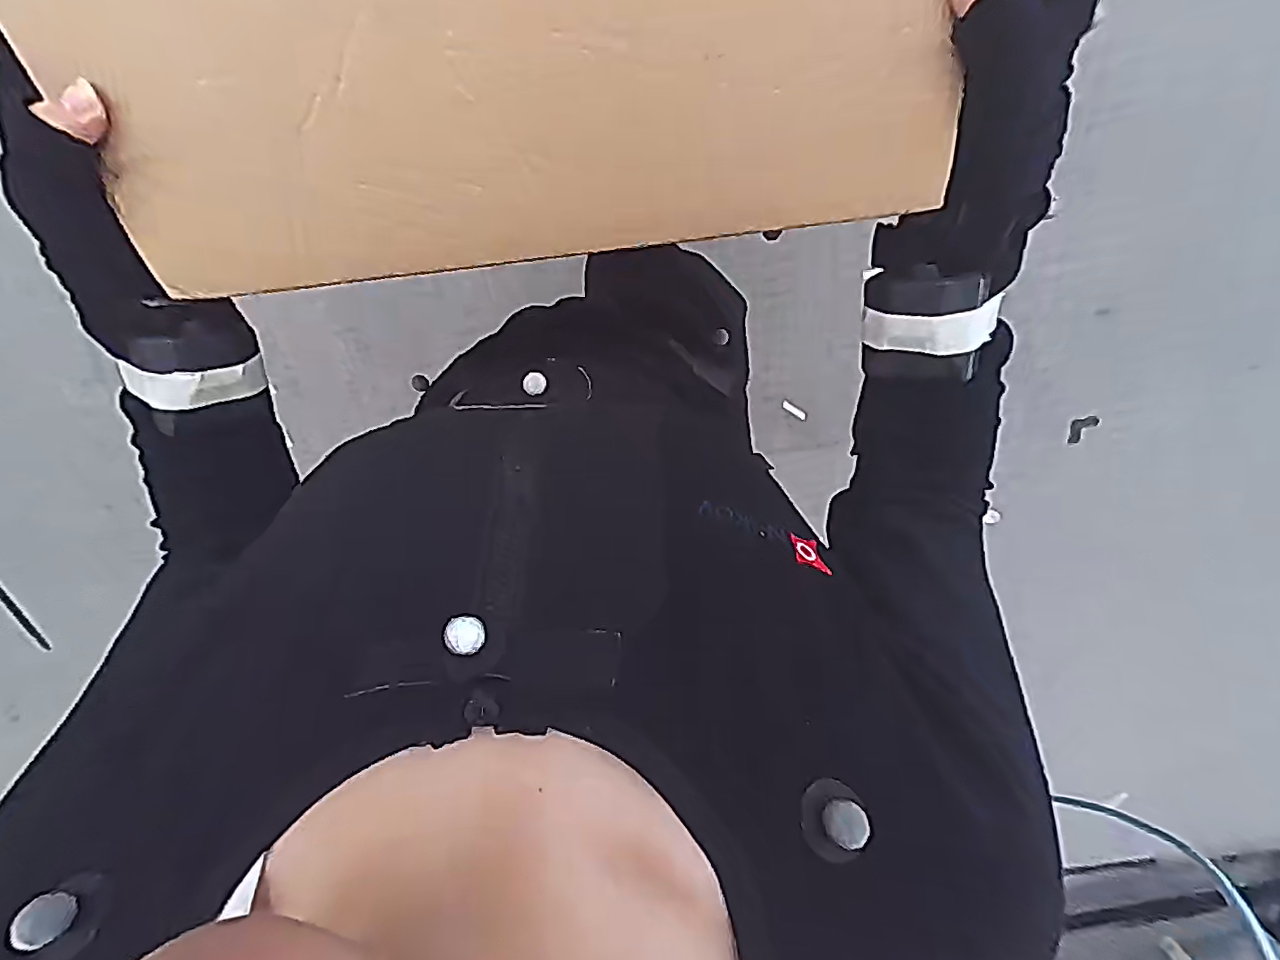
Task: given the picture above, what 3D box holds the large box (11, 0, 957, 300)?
[{"bbox_3d":[-0.069,-0.331,0.321,0.408,0.320,0.320,-5,125,5],"label":"large box"}]
